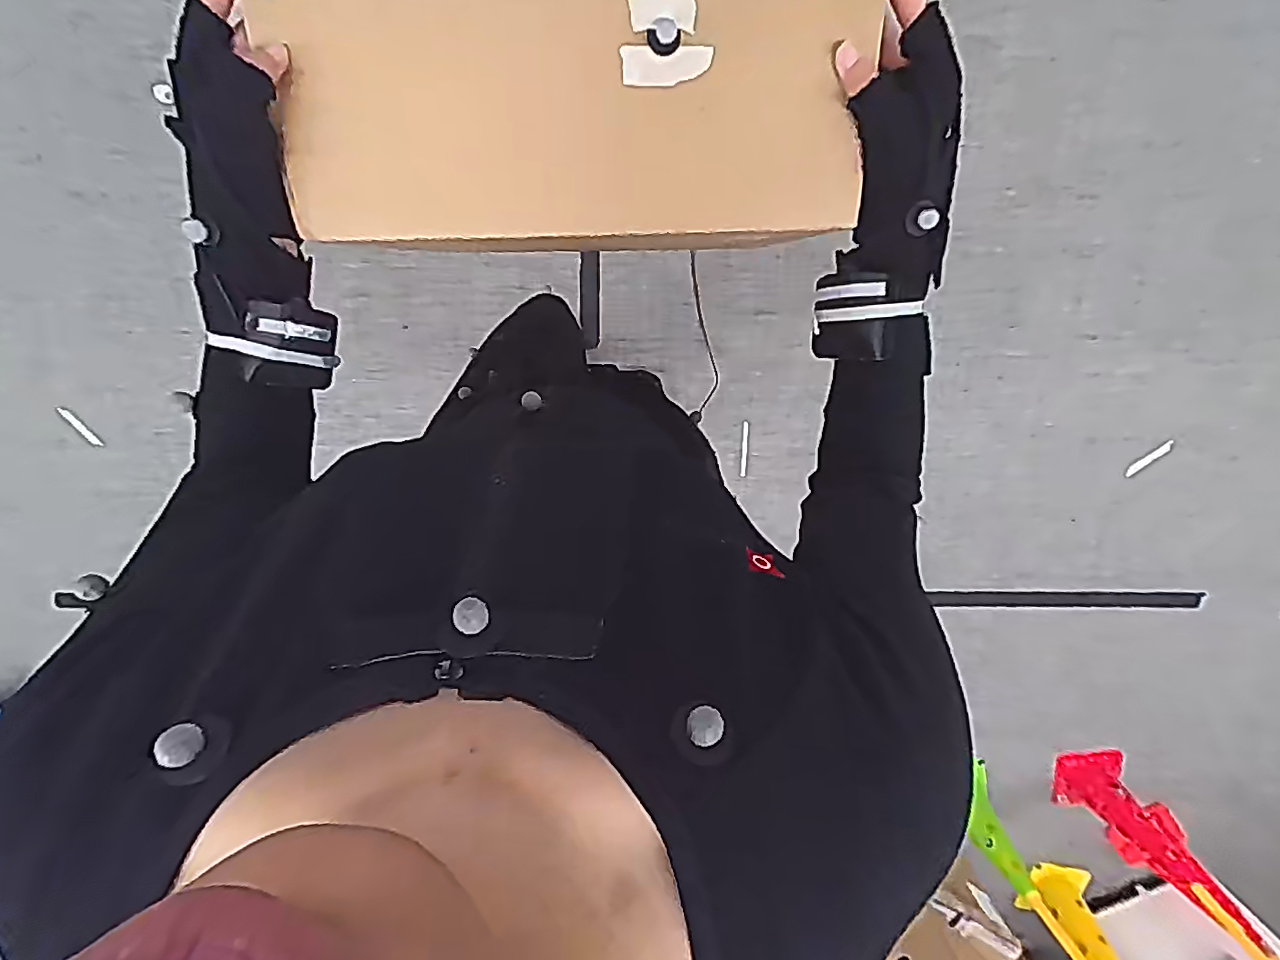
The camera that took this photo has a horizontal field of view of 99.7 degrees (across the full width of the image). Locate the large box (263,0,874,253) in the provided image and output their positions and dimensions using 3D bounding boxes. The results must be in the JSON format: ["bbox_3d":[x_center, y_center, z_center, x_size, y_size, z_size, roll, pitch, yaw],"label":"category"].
[{"bbox_3d":[-0.047,-0.383,0.482,0.408,0.320,0.320,-1,112,1],"label":"large box"}]
